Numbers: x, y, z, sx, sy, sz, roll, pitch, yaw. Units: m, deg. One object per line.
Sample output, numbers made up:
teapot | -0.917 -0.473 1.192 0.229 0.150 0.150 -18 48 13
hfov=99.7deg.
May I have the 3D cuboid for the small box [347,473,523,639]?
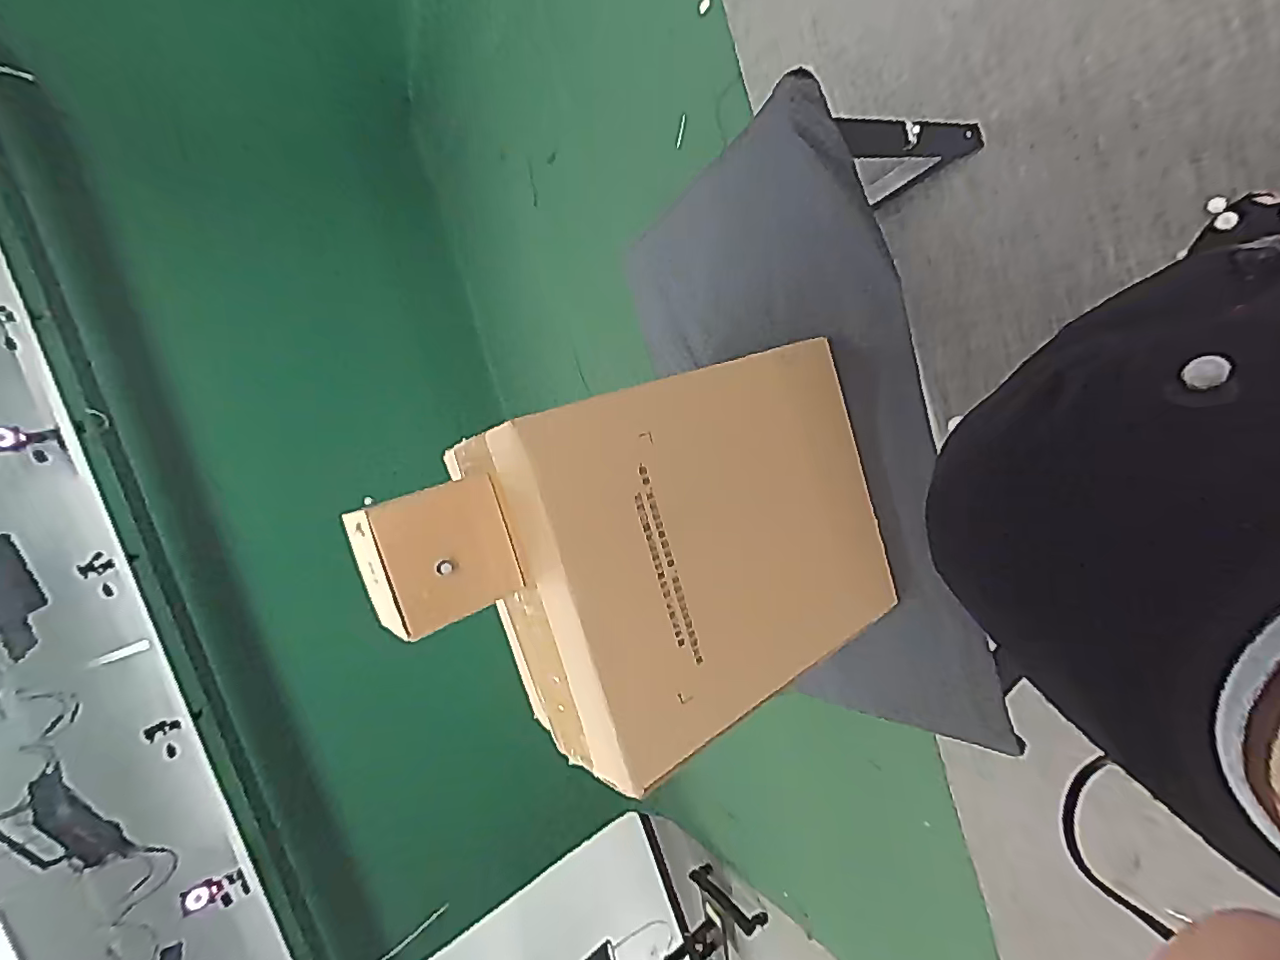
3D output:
small box | -0.293 0.102 0.783 0.168 0.176 0.179 -8 101 52
